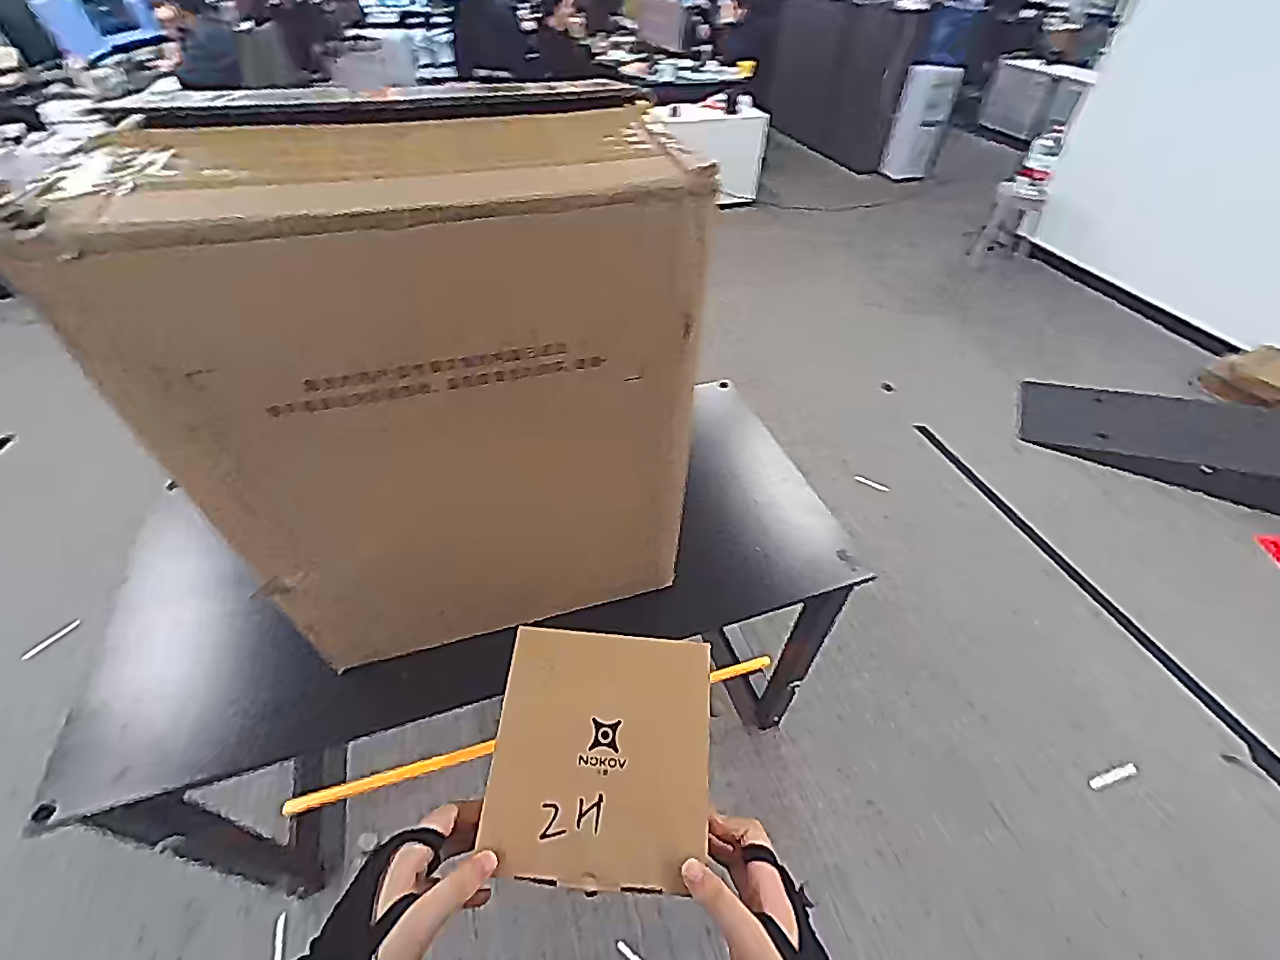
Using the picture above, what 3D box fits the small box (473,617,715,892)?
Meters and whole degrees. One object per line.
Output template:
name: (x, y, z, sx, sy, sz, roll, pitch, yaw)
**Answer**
small box: (-0.030, 0.241, 0.482, 0.168, 0.176, 0.179, 6, 58, 2)
